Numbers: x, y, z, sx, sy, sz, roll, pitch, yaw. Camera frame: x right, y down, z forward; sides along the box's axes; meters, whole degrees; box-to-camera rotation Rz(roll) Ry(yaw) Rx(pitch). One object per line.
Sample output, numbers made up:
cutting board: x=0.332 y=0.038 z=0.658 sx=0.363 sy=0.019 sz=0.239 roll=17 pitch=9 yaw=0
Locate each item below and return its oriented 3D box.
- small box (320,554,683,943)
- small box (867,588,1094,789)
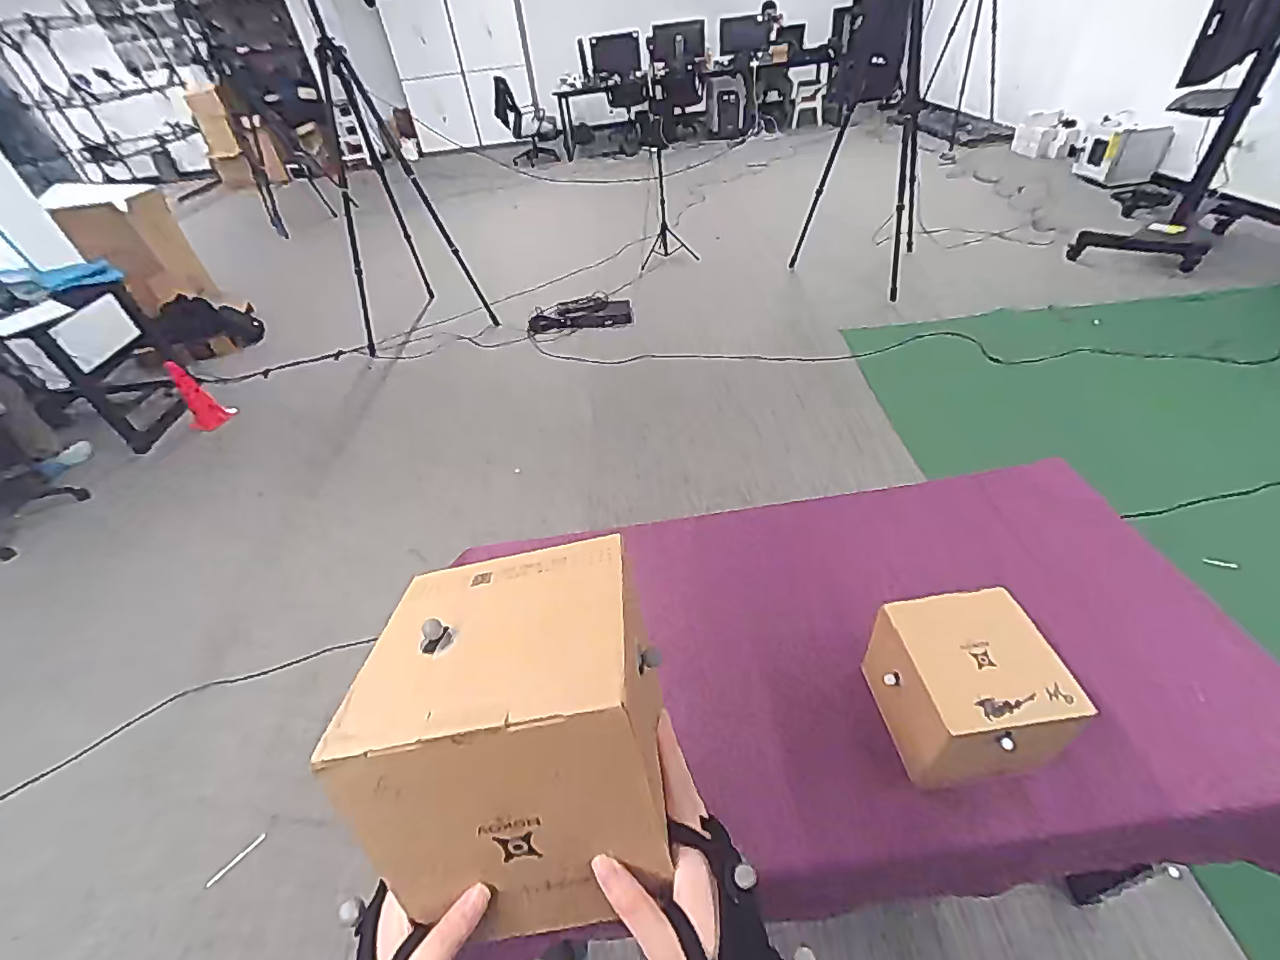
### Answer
small box: x=-0.071 y=0.168 z=0.376 sx=0.168 sy=0.179 sz=0.176 roll=-11 pitch=26 yaw=3
small box: x=0.416 y=0.269 z=0.702 sx=0.168 sy=0.176 sz=0.179 roll=-9 pitch=41 yaw=1
